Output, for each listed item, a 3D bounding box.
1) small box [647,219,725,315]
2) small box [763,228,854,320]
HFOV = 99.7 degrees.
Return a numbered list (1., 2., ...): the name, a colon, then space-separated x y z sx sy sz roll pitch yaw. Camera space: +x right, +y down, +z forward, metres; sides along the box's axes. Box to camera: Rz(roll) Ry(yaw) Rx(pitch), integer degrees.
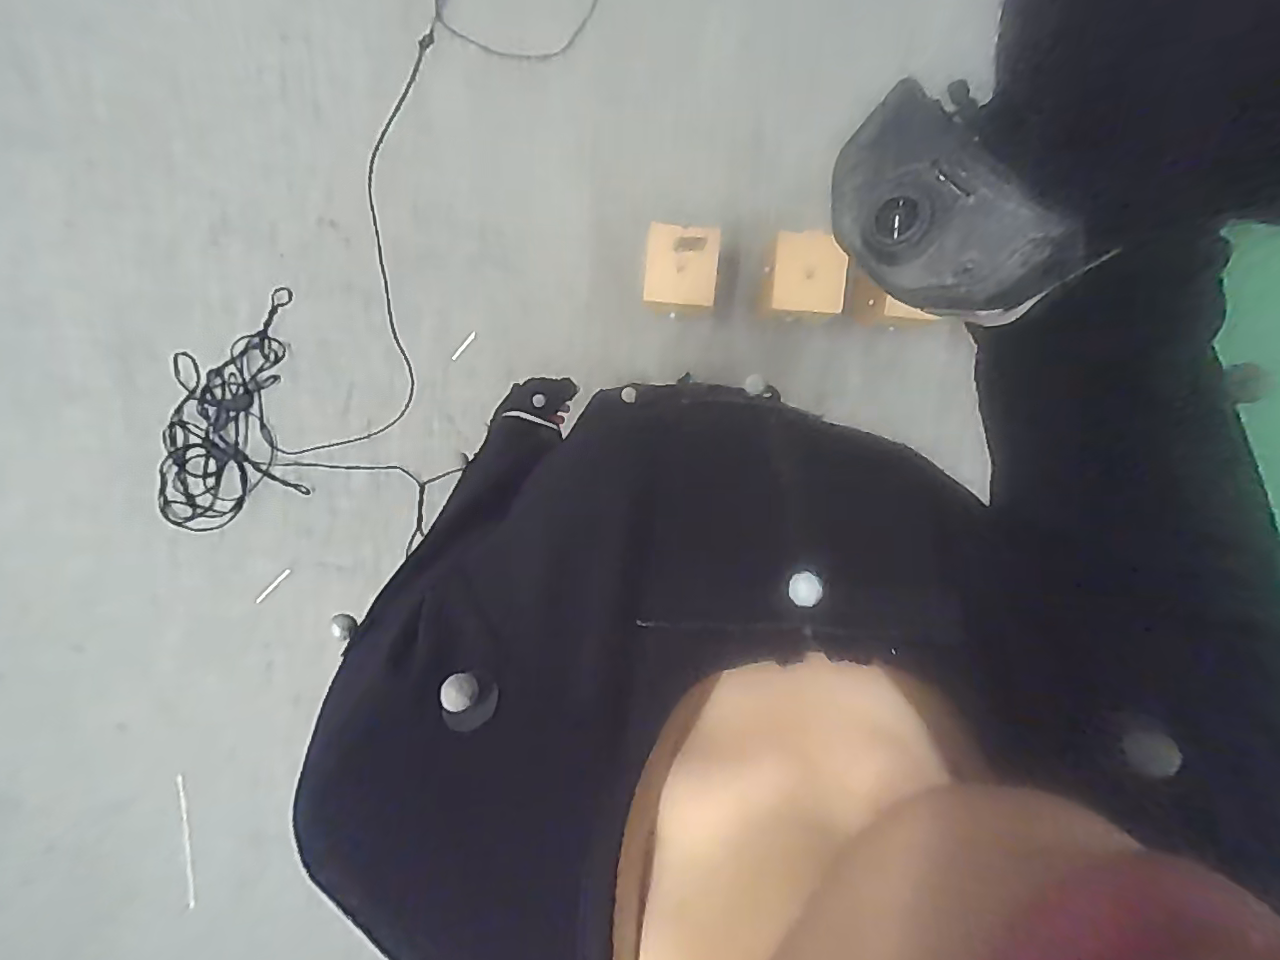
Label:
1. small box: 0.105 -0.509 1.312 0.168 0.176 0.179 6 100 1
2. small box: 0.398 -0.490 1.310 0.168 0.176 0.179 4 98 1
